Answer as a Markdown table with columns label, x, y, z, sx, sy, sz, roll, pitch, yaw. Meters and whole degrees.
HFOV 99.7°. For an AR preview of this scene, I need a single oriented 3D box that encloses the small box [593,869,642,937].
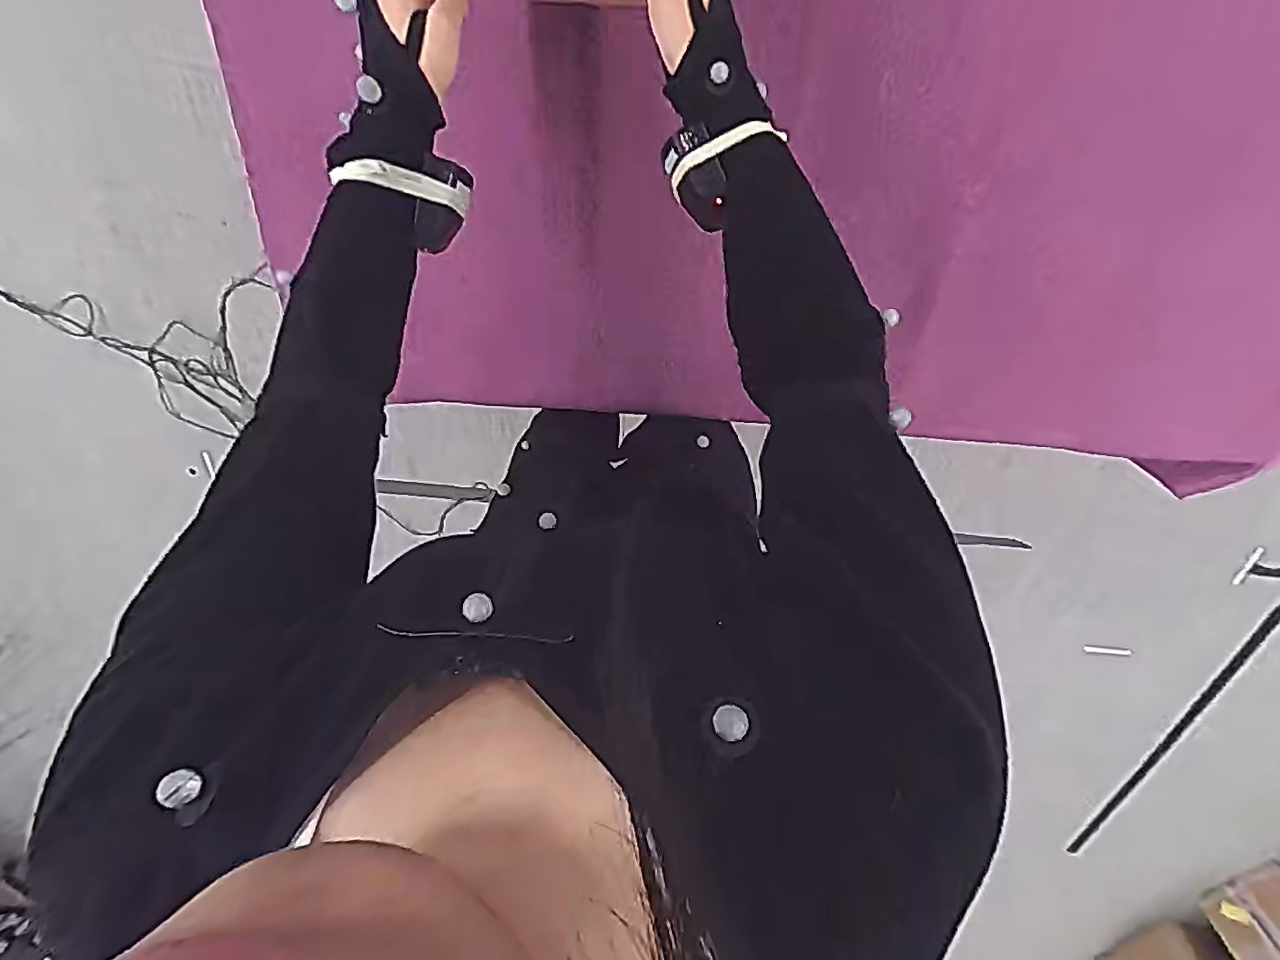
| label | x | y | z | sx | sy | sz | roll | pitch | yaw |
| --- | --- | --- | --- | --- | --- | --- | --- | --- | --- |
| small box | -0.085 | 1.635 | 2.085 | 0.179 | 0.176 | 0.168 | 4 | 119 | 3 |

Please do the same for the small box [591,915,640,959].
| label | x | y | z | sx | sy | sz | roll | pitch | yaw |
| --- | --- | --- | --- | --- | --- | --- | --- | --- | --- |
| small box | -0.090 | 1.708 | 1.939 | 0.168 | 0.176 | 0.179 | 4 | 118 | 1 |
